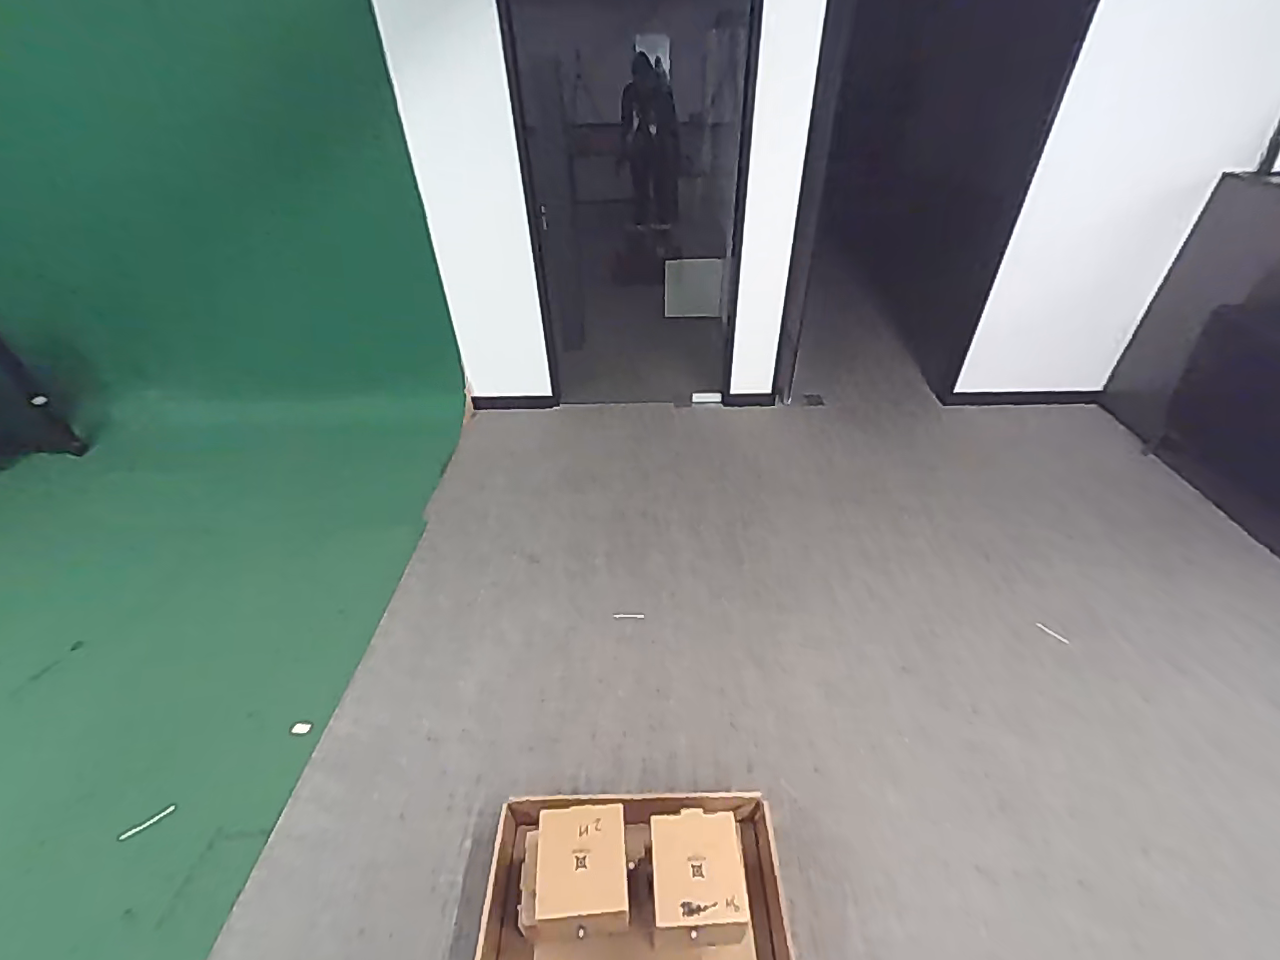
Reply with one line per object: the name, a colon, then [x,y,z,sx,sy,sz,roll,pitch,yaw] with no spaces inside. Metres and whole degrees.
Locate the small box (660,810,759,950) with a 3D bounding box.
small box: [0.126,0.770,1.043,0.168,0.176,0.179,-5,38,0]

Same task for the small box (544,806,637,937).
small box: [-0.093,0.770,1.061,0.168,0.176,0.179,-2,40,-4]

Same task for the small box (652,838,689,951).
small box: [0.126,0.883,1.163,0.179,0.176,0.168,-6,39,-3]

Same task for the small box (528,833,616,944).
small box: [-0.138,0.886,1.177,0.179,0.176,0.168,-2,40,-2]
